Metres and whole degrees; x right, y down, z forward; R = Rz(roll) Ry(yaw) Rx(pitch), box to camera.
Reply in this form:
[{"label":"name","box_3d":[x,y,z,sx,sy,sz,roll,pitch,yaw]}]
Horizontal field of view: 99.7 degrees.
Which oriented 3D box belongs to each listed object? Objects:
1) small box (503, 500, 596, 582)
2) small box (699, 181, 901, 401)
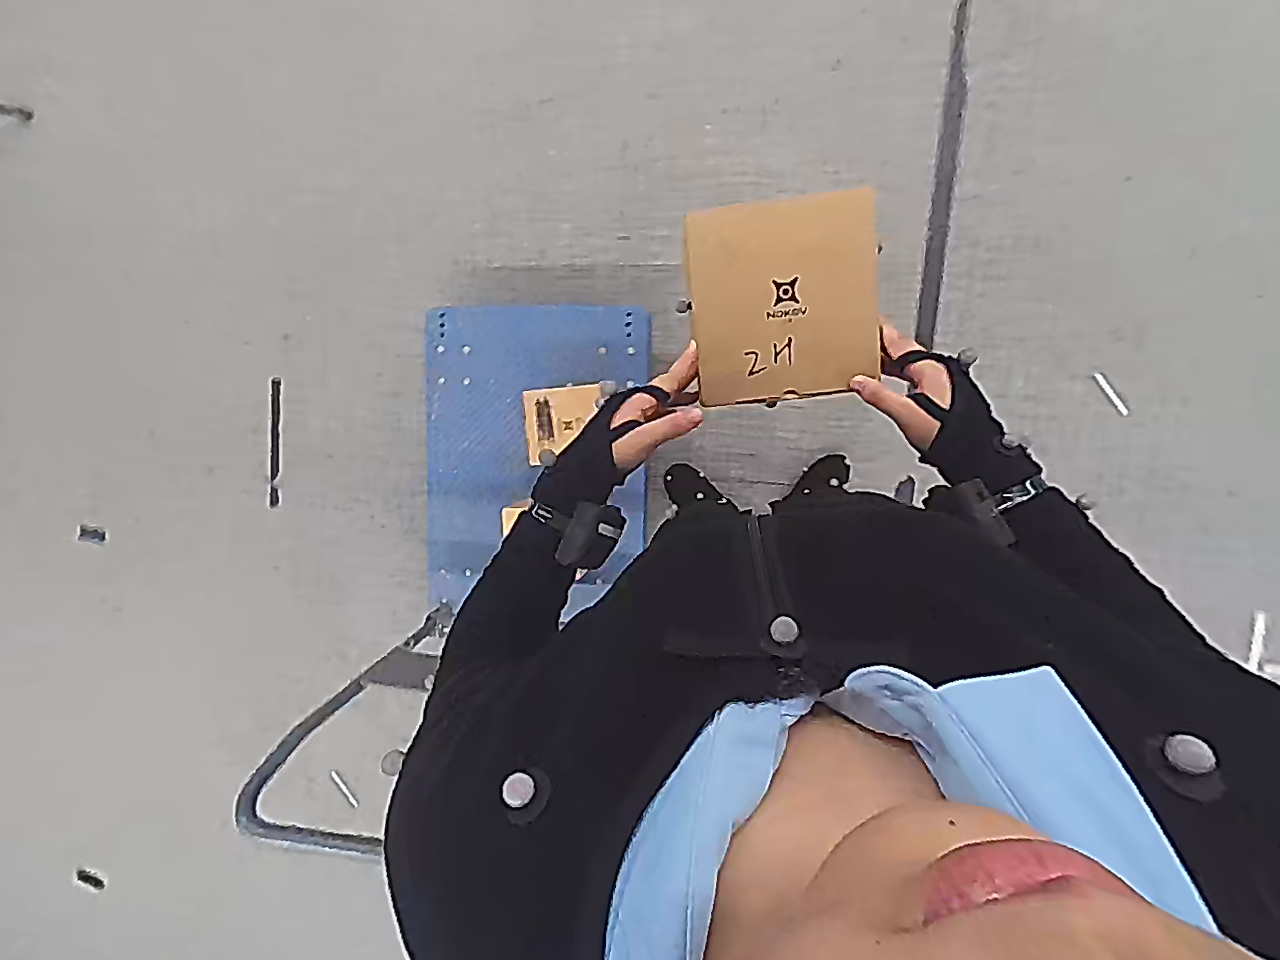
[{"label":"small box","box_3d":[-0.209,0.139,1.287,0.179,0.176,0.168,-1,95,8]},{"label":"small box","box_3d":[0.149,-0.177,0.554,0.168,0.176,0.179,-4,102,5]}]
